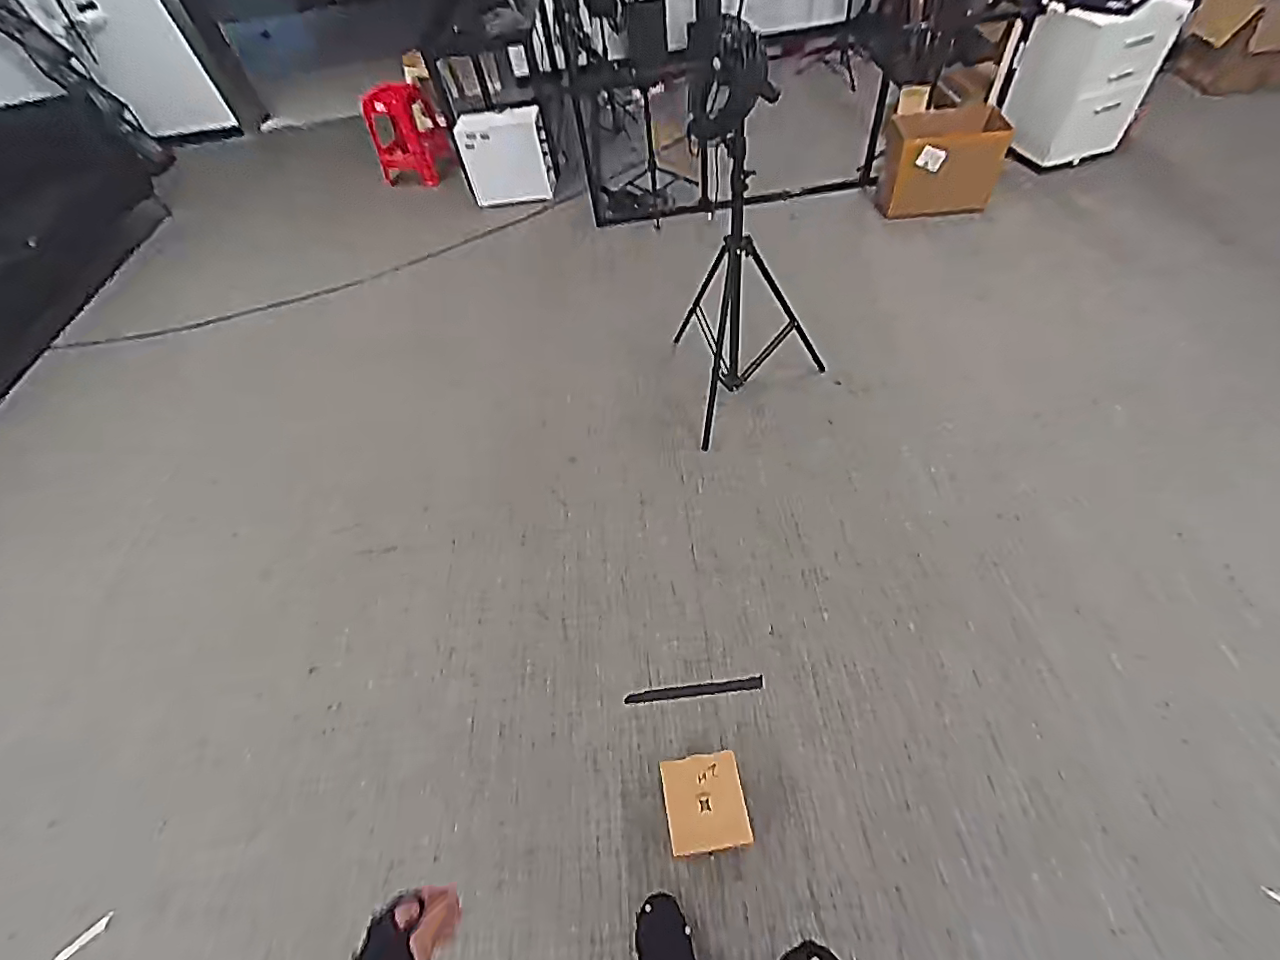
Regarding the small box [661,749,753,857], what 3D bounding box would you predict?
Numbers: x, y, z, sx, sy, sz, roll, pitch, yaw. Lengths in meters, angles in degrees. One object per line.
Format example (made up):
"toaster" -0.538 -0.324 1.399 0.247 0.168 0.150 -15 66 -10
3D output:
"small box" 0.147 0.712 1.184 0.168 0.176 0.179 -10 52 1
